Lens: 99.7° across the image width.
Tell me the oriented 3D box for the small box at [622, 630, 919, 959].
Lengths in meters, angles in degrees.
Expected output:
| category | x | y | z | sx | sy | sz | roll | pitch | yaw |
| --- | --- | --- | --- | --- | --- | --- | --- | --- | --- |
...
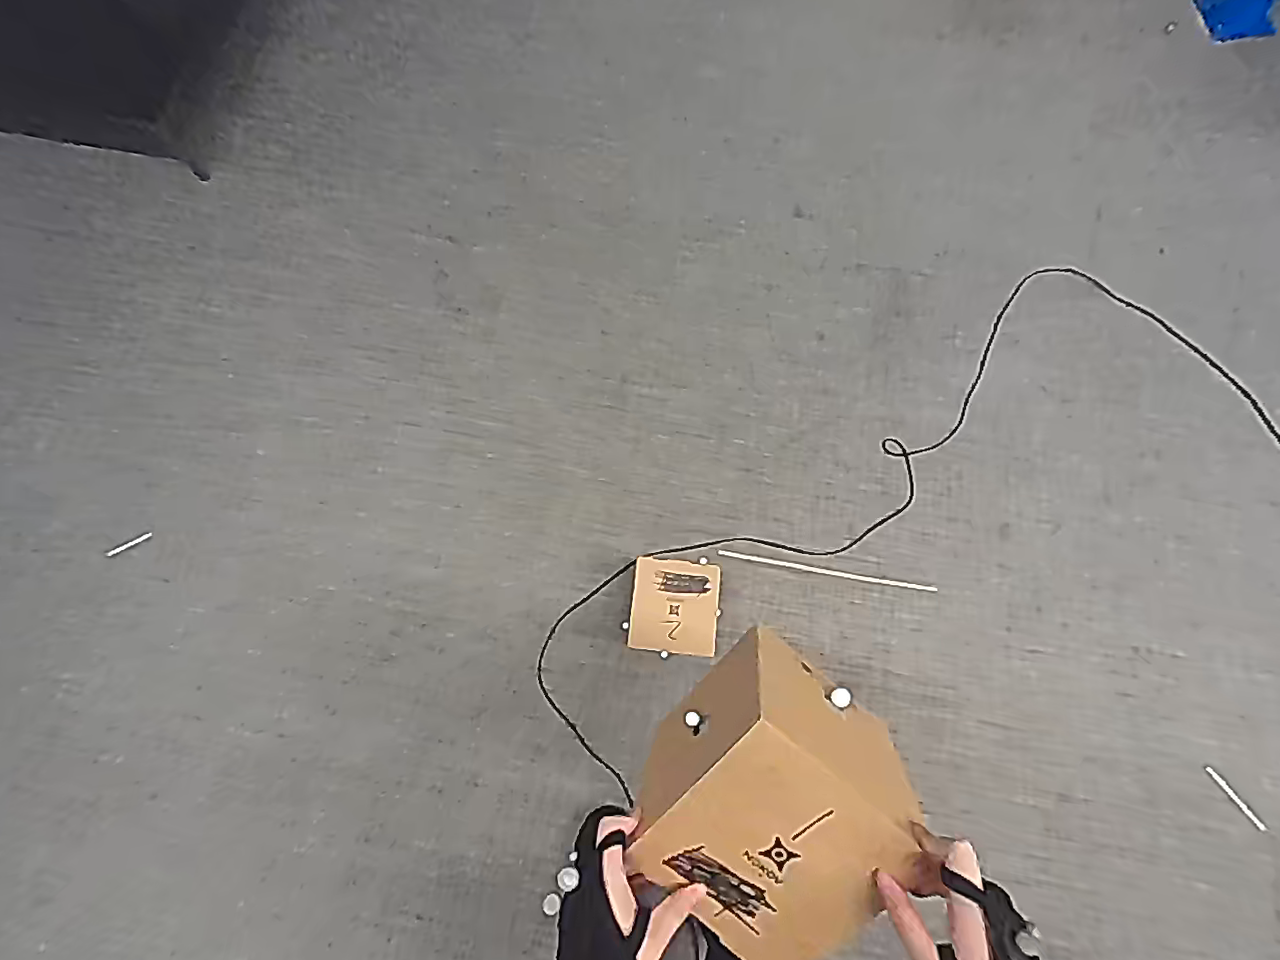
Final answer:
| category | x | y | z | sx | sy | sz | roll | pitch | yaw |
| --- | --- | --- | --- | --- | --- | --- | --- | --- | --- |
| small box | 0.113 | 0.278 | 0.502 | 0.168 | 0.176 | 0.179 | 38 | 104 | 3 |
